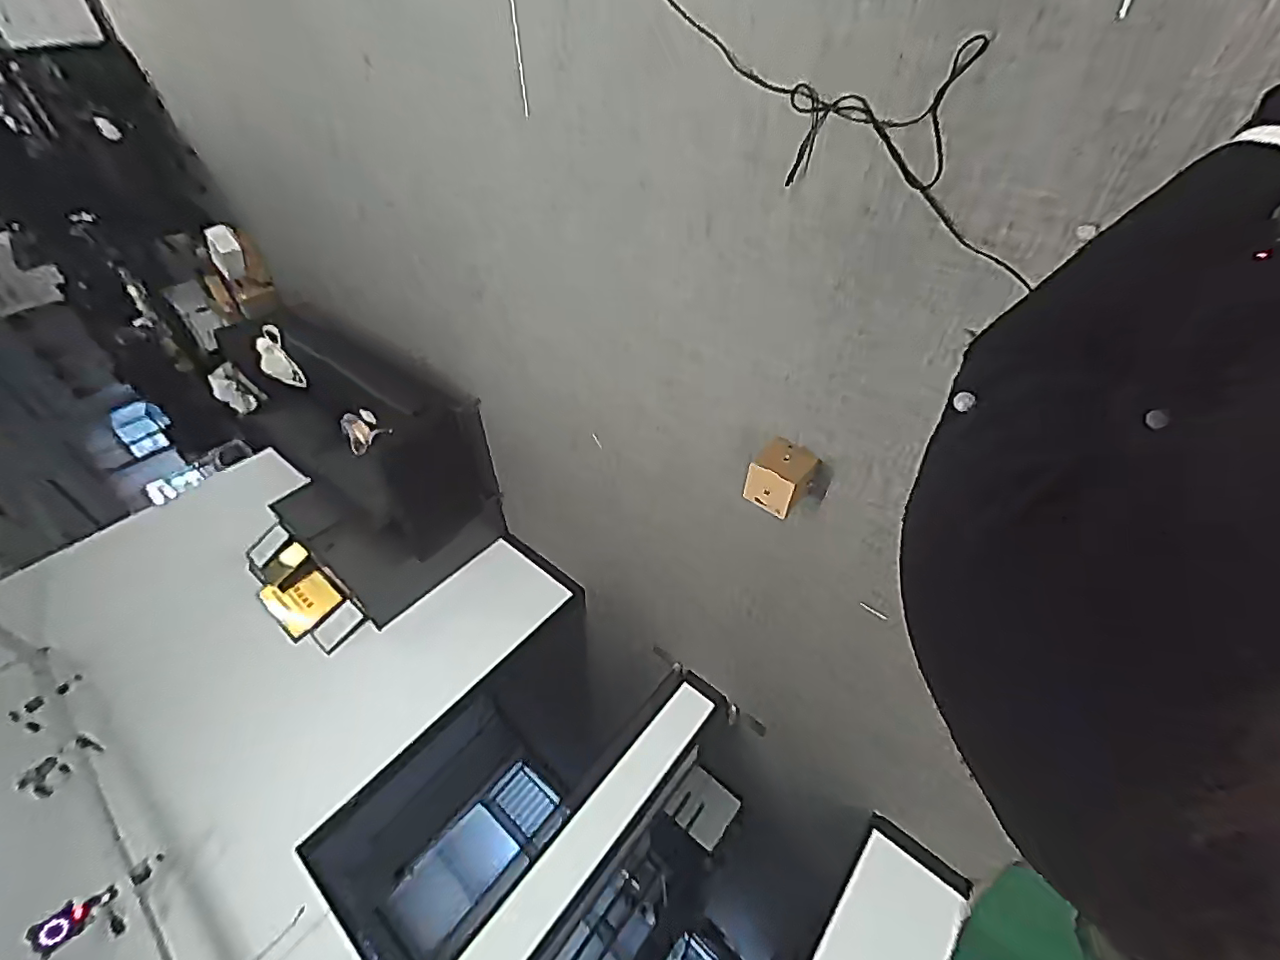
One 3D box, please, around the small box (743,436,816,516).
[{"bbox_3d":[0.476,-0.020,1.835,0.168,0.176,0.179,33,143,26],"label":"small box"}]
